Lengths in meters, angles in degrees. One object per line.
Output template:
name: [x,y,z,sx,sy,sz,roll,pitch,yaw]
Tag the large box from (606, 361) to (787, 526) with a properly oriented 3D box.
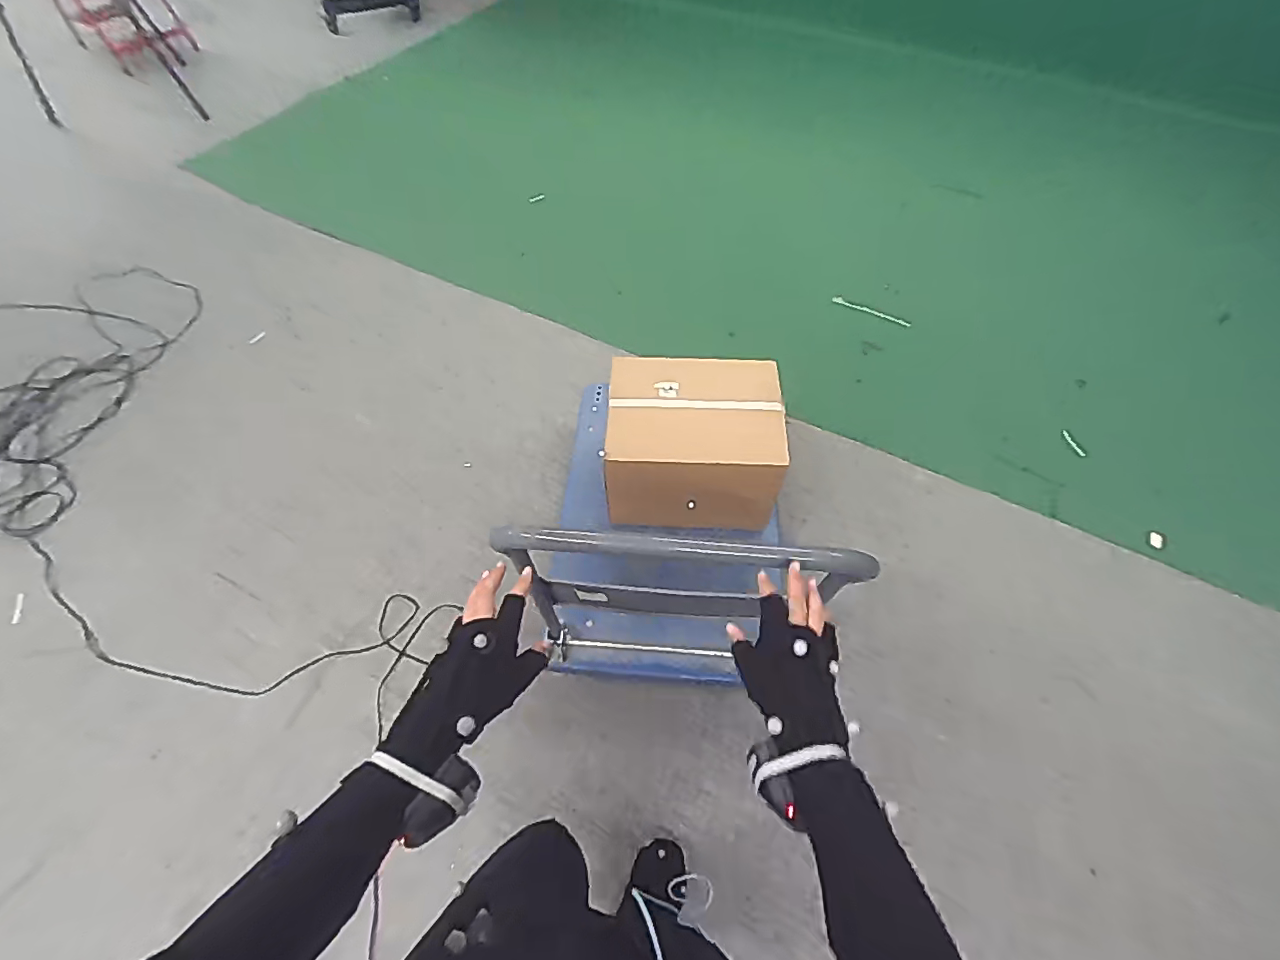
large box: [0.129,-0.084,1.383,0.408,0.320,0.320,1,57,2]
